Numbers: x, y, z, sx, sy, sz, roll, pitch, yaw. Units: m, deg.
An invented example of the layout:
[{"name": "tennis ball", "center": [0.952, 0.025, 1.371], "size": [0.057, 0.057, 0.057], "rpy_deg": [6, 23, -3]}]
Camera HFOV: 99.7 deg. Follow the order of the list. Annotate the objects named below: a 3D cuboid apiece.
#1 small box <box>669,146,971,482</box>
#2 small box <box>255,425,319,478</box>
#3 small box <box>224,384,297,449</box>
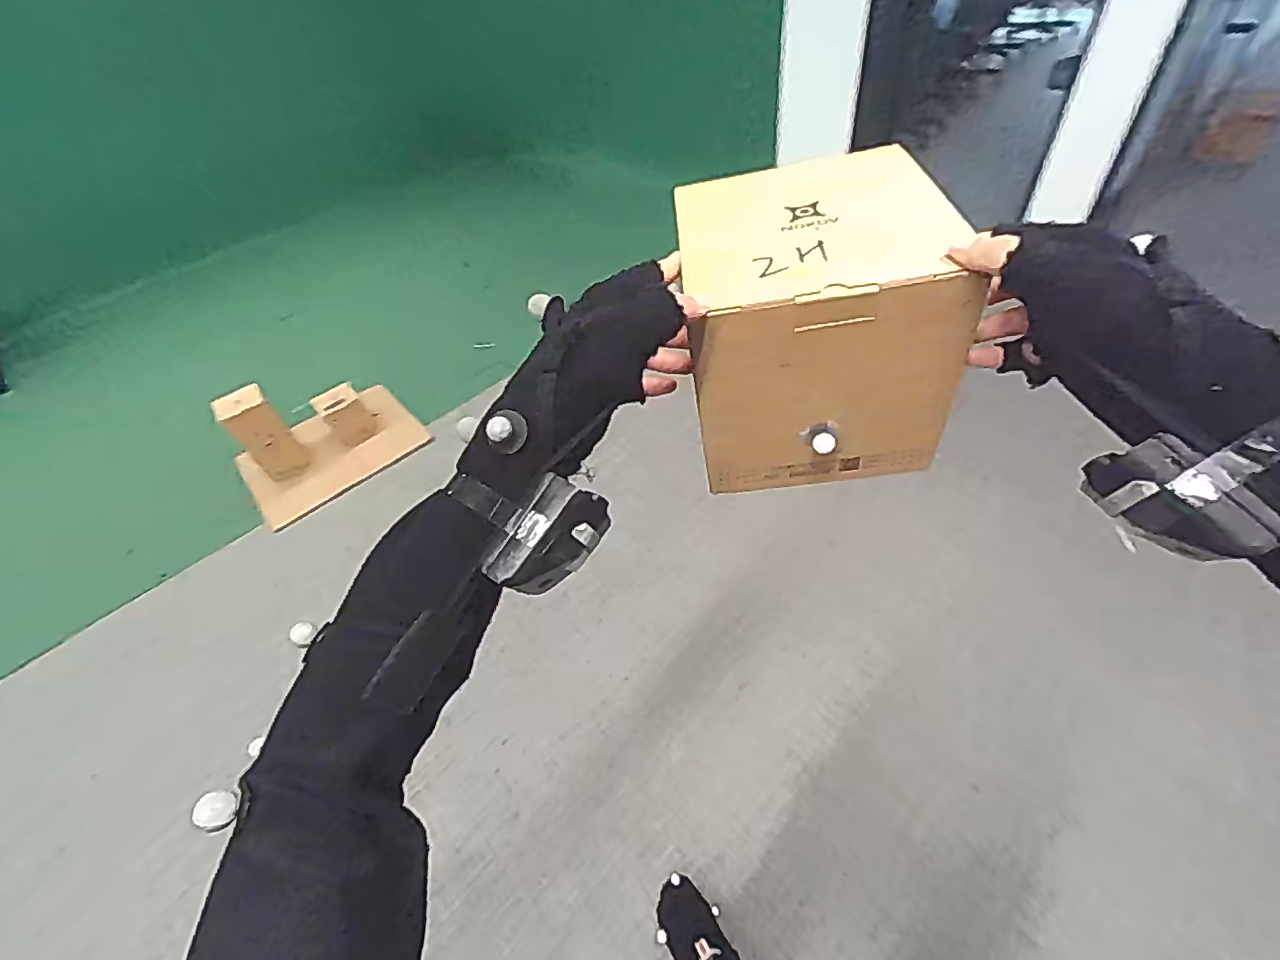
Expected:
[{"name": "small box", "center": [0.114, -0.122, 0.416], "size": [0.168, 0.176, 0.179], "rpy_deg": [-7, 49, 8]}, {"name": "small box", "center": [-1.497, -0.134, 2.283], "size": [0.168, 0.176, 0.179], "rpy_deg": [-36, 50, -21]}, {"name": "small box", "center": [-1.523, -0.254, 2.175], "size": [0.168, 0.176, 0.179], "rpy_deg": [-34, 51, -21]}]
